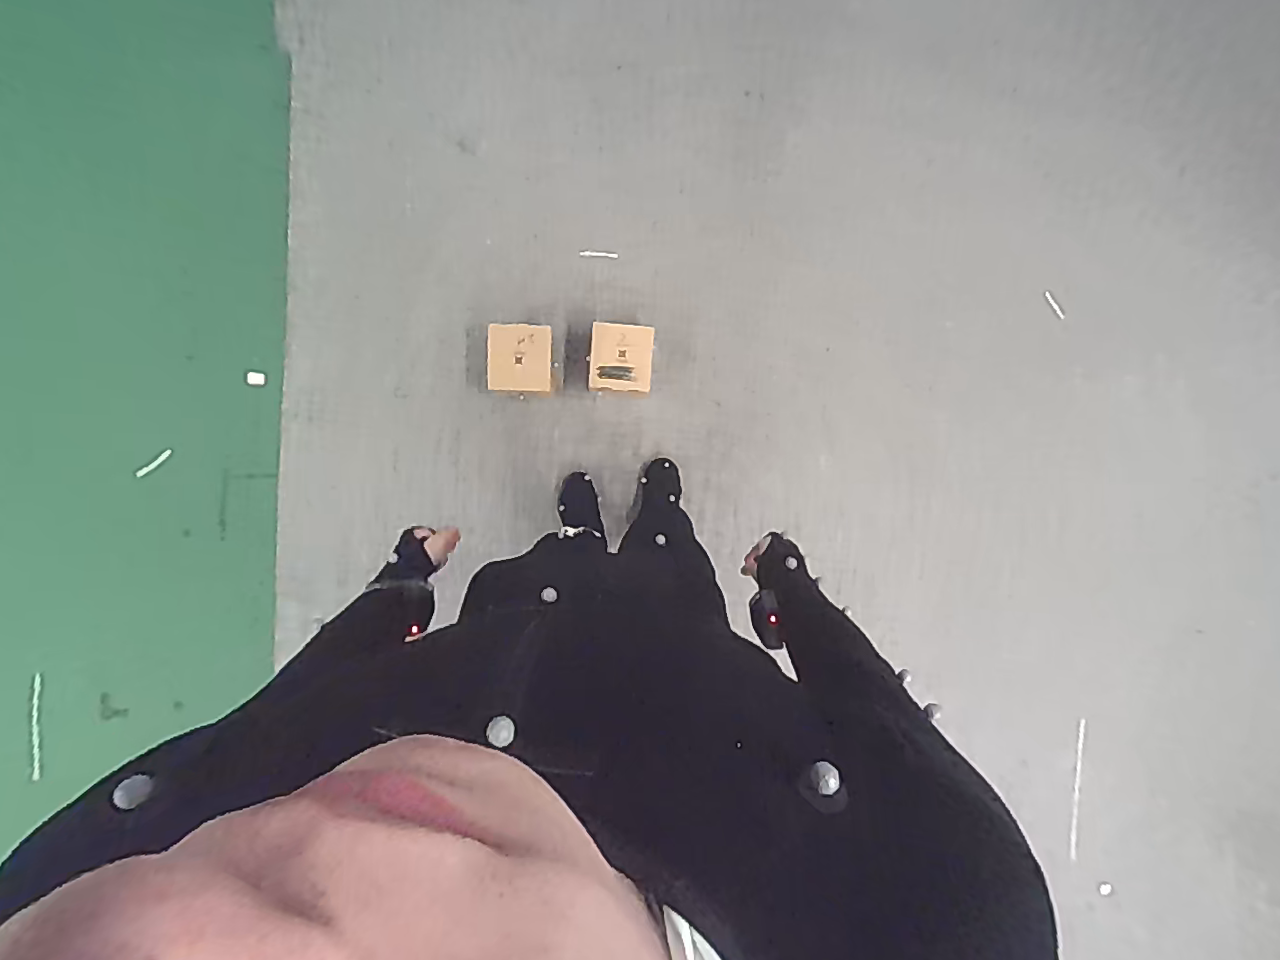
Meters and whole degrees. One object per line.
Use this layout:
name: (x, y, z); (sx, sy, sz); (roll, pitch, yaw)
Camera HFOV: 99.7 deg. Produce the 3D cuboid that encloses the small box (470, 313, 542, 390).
small box: (-0.359, -0.343, 1.472); (0.168, 0.176, 0.179); (3, 93, -6)
